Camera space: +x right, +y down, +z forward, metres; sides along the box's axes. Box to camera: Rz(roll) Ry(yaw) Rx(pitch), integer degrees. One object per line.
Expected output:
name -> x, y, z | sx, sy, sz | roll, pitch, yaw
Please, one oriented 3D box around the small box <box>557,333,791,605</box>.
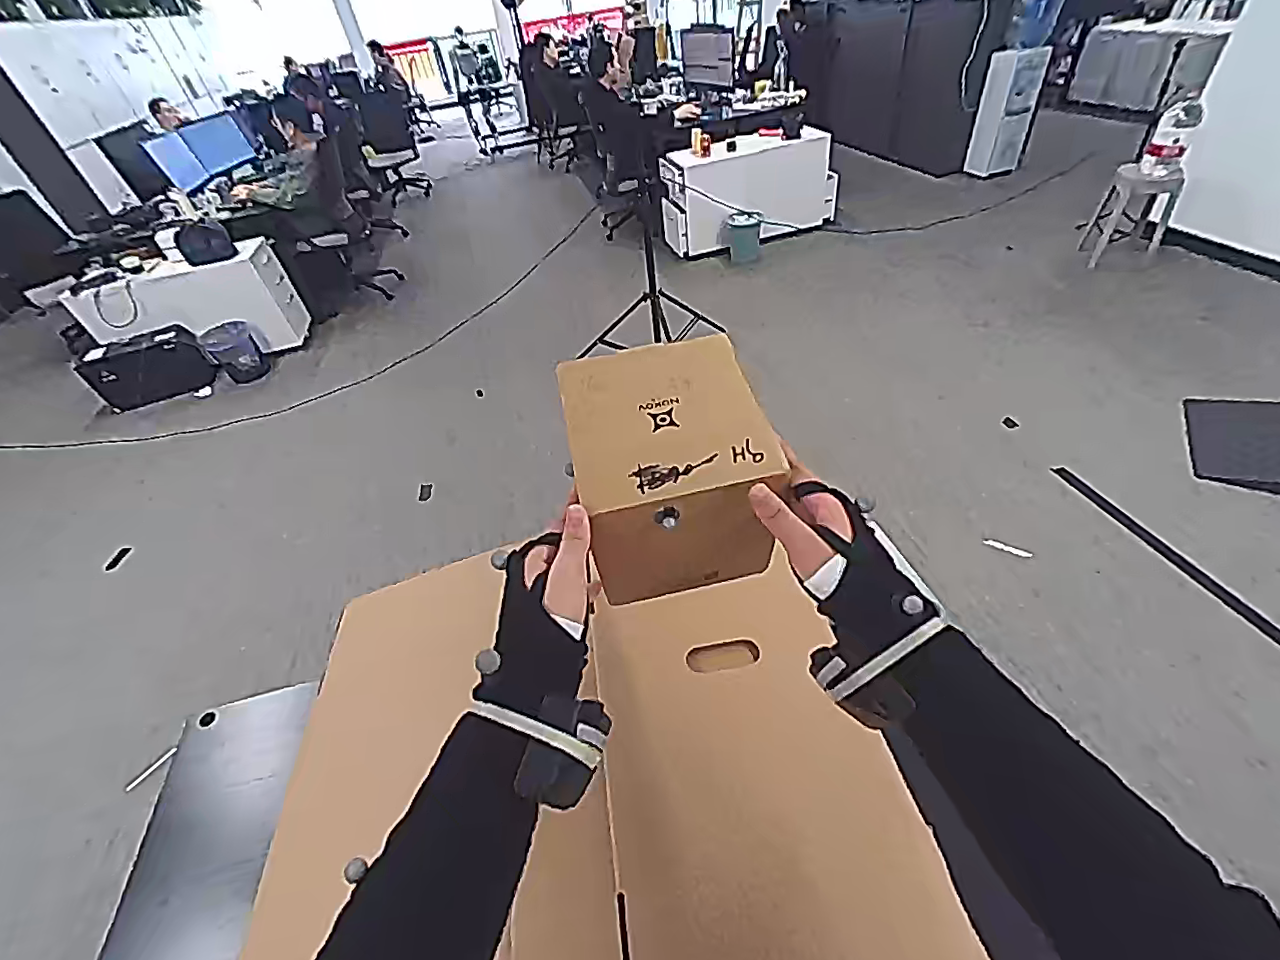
small box -> 0.024, -0.007, 0.514 | 0.168, 0.176, 0.179 | -13, 53, -3
